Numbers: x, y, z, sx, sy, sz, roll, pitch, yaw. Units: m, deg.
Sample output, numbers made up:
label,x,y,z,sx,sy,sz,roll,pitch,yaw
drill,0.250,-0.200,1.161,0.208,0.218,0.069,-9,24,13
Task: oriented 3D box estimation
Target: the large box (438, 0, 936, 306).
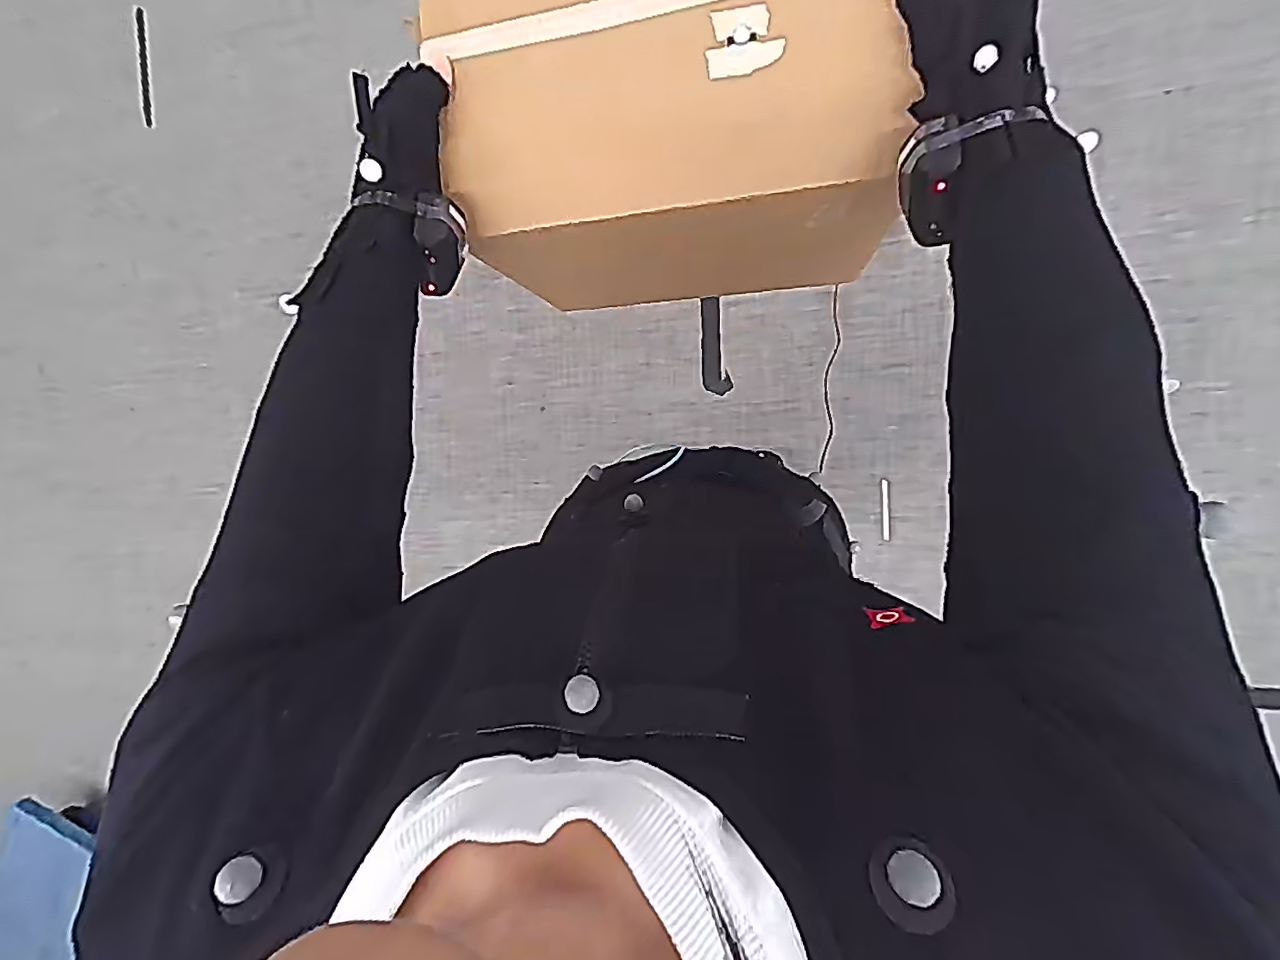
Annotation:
label,x,y,z,sx,sy,sz,roll,pitch,yaw
large box,0.046,-0.398,0.583,0.408,0.320,0.320,-3,95,11
